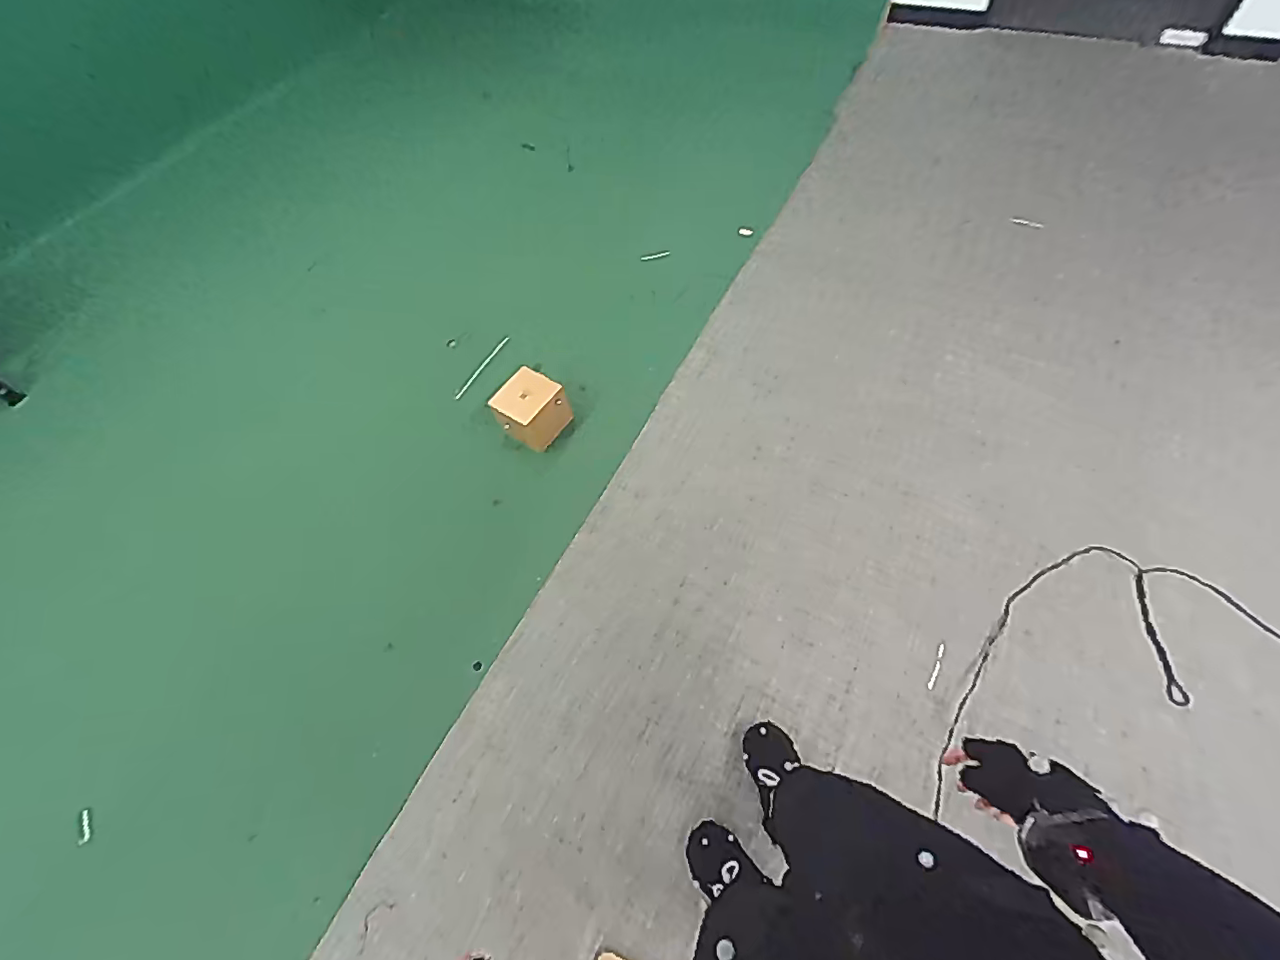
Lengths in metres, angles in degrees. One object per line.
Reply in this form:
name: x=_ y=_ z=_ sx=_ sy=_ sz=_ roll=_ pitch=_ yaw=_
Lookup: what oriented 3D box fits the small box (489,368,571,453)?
small box: x=-0.343 y=-0.217 z=1.729 sx=0.168 sy=0.176 sz=0.179 roll=29 pitch=68 yaw=21
